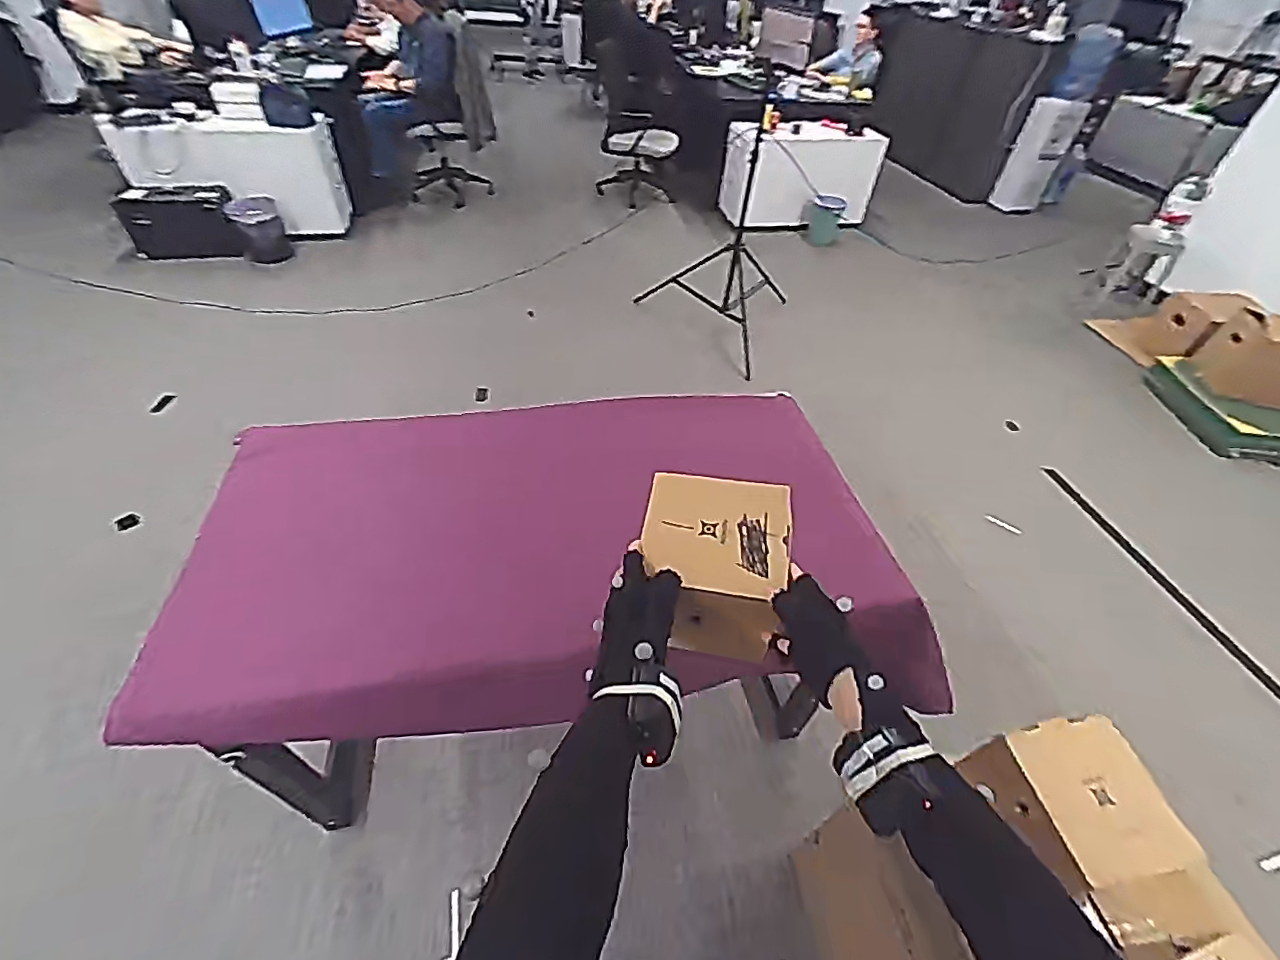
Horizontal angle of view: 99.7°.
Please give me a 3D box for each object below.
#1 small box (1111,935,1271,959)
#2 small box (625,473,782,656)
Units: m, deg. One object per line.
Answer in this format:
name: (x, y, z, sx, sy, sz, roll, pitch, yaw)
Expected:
small box: (0.604, 0.623, 0.571, 0.168, 0.176, 0.179, -11, 46, -13)
small box: (0.082, 0.116, 0.714, 0.179, 0.176, 0.168, 8, 50, 7)
